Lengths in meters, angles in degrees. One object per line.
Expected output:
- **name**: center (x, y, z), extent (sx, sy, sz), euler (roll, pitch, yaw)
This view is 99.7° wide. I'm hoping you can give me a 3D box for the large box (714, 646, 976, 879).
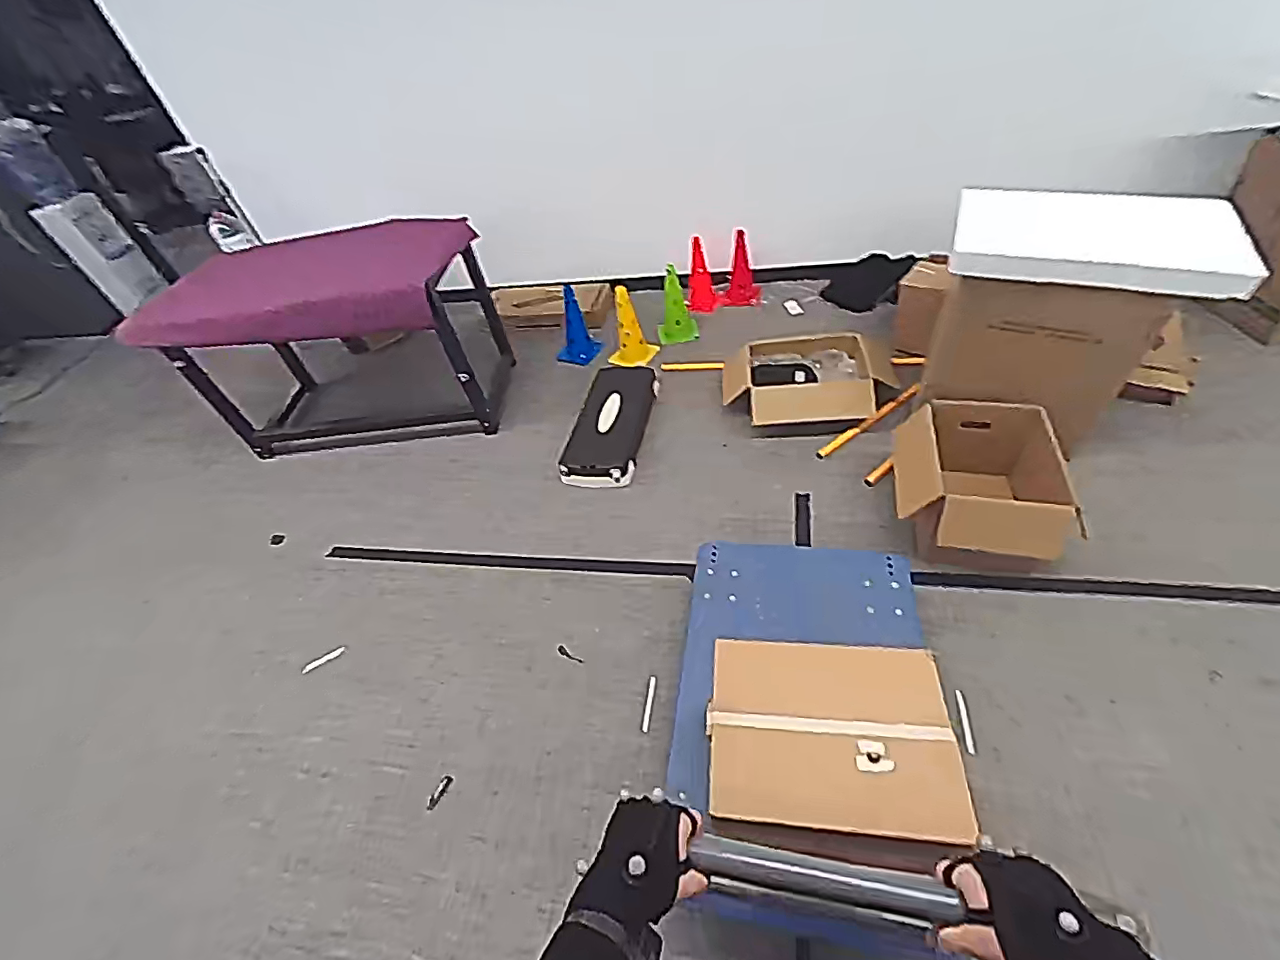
- **large box**: center (0.351, 0.548, 1.057), extent (0.408, 0.320, 0.320), euler (0, 47, 10)
